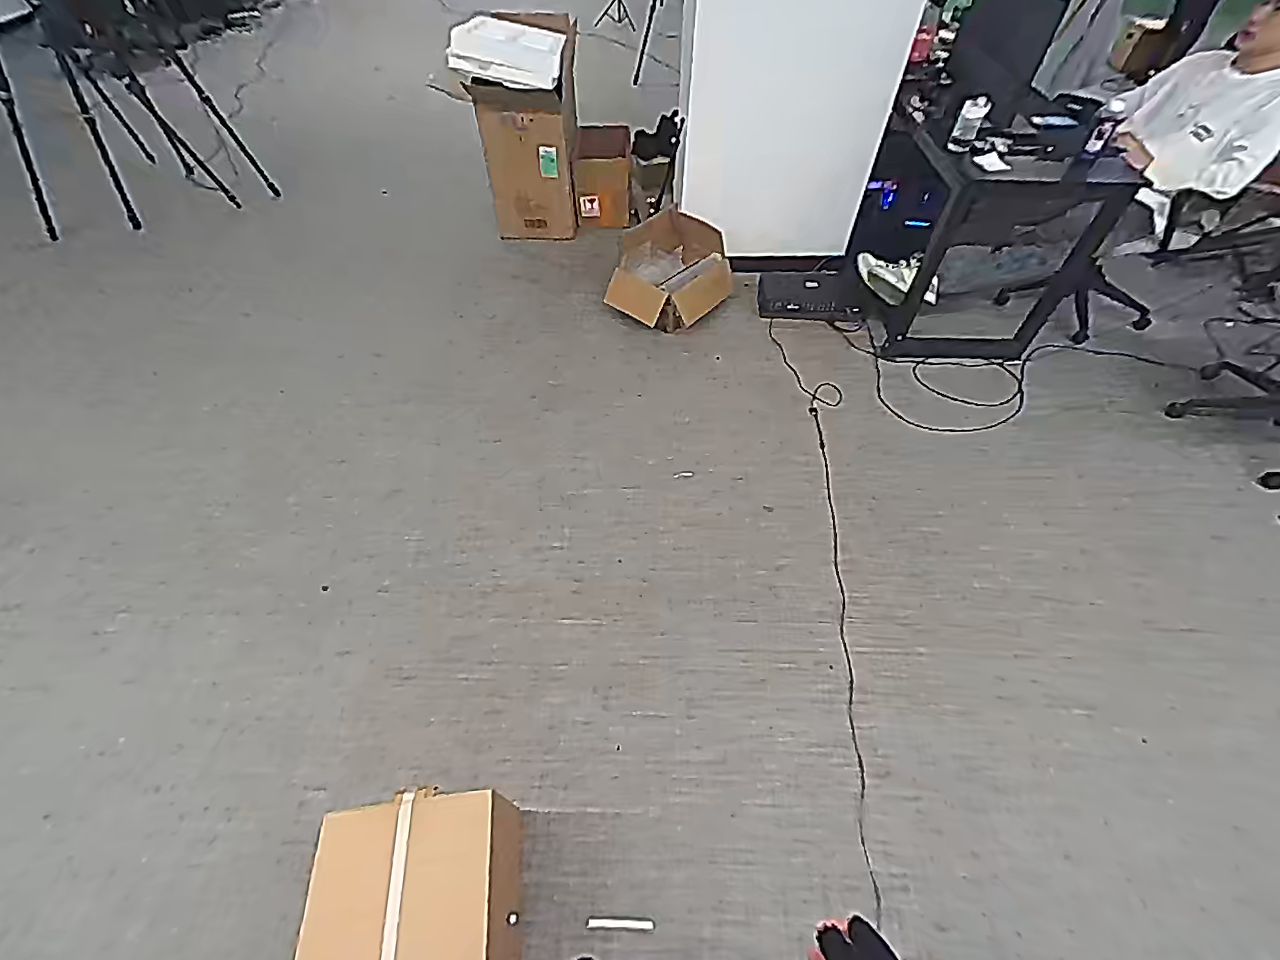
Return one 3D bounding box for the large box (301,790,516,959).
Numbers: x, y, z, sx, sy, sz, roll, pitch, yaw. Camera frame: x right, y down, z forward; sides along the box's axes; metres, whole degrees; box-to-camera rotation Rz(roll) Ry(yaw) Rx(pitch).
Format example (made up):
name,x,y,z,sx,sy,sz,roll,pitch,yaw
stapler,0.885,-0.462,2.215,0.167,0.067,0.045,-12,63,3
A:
name,x,y,z,sx,sy,sz,roll,pitch,yaw
large box,-0.416,0.862,1.034,0.320,0.320,0.408,-6,53,-4
